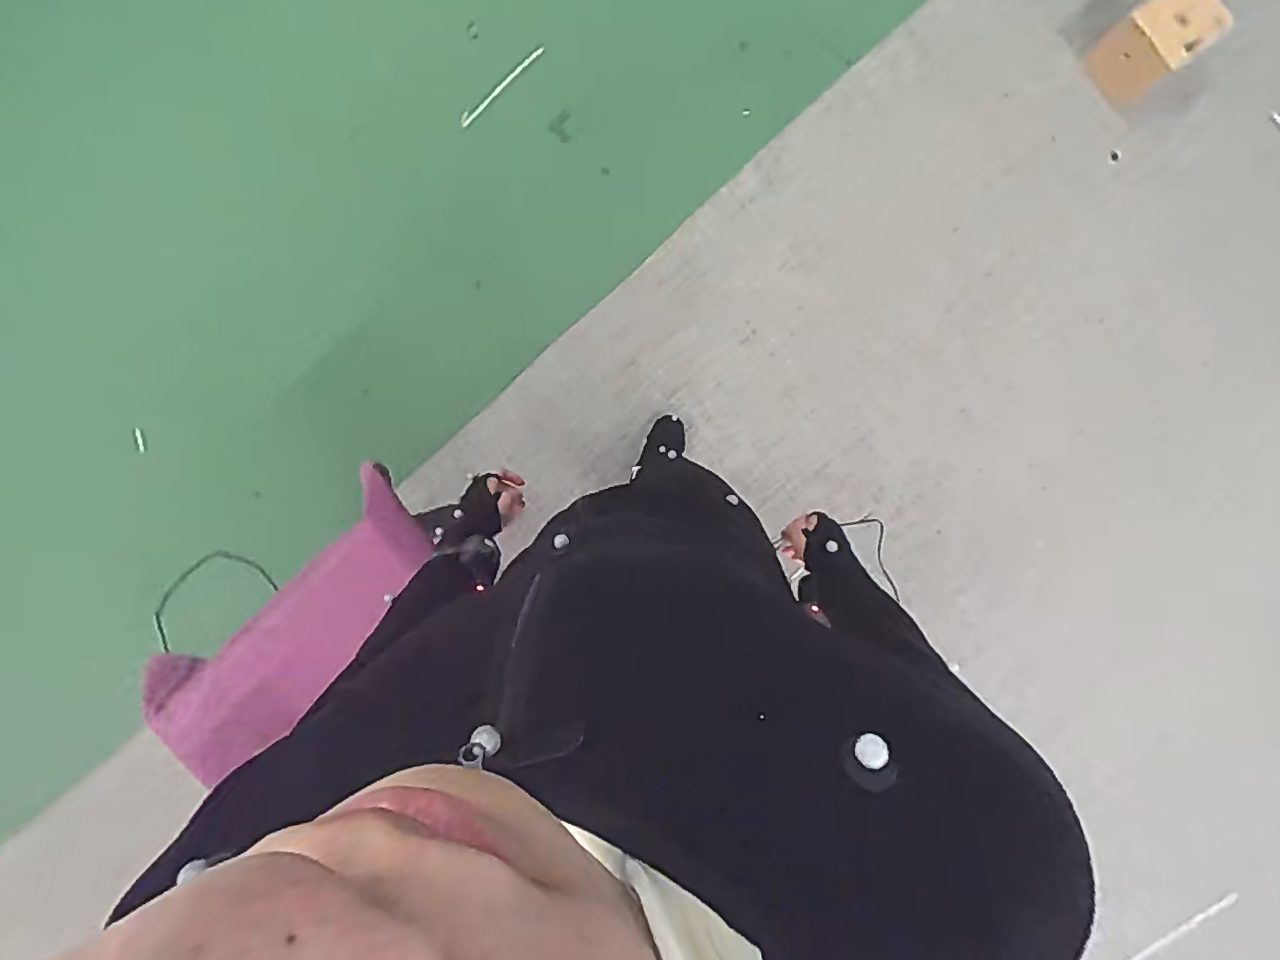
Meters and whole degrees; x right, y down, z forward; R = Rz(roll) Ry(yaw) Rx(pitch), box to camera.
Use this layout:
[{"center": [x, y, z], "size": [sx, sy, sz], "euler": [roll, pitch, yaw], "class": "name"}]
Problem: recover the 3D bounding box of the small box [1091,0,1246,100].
[{"center": [1.268, -1.087, 1.315], "size": [0.168, 0.176, 0.179], "euler": [-38, 90, 7], "class": "small box"}]
